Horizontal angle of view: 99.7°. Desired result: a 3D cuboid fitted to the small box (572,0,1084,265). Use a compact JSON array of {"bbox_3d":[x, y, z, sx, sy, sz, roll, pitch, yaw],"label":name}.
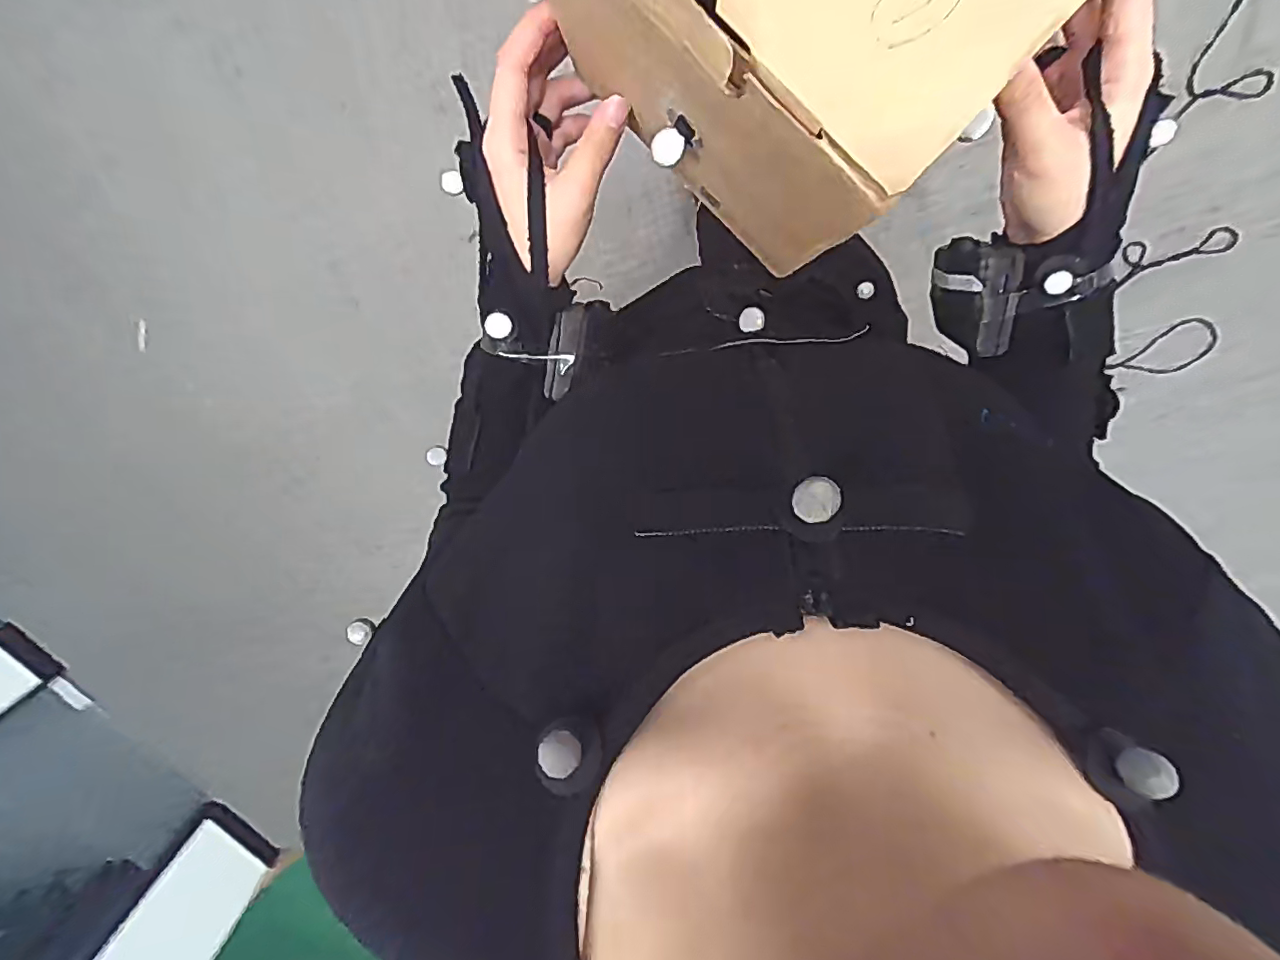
[{"bbox_3d":[0.082,-0.218,0.226,0.168,0.176,0.179,42,103,-7],"label":"small box"}]
